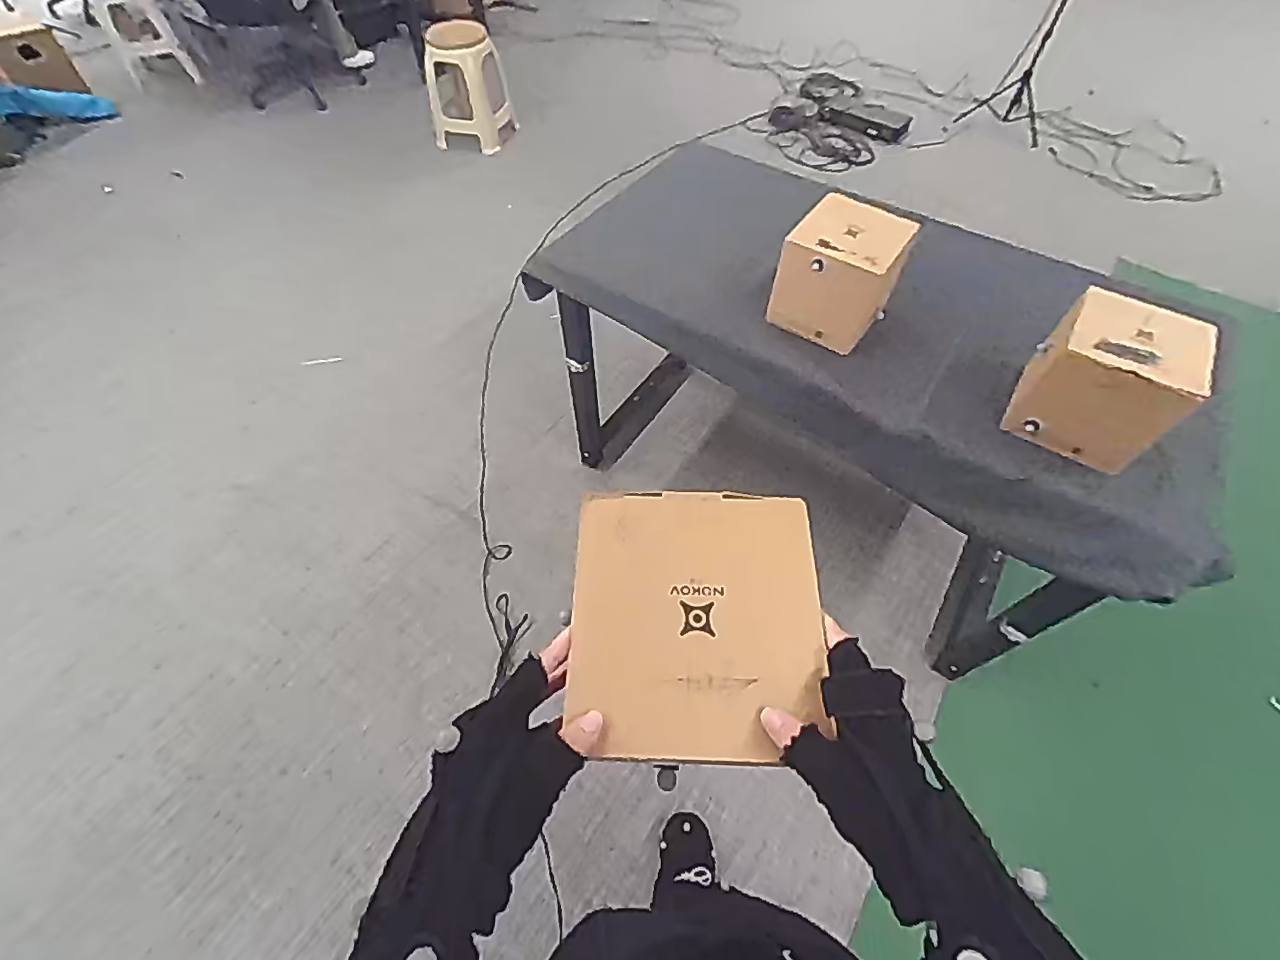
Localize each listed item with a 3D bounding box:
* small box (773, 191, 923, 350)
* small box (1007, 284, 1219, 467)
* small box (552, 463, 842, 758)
[{"bbox_3d":[0.352,-0.363,0.944,0.168,0.176,0.179,31,61,19],"label":"small box"},{"bbox_3d":[0.687,-0.151,0.803,0.168,0.176,0.179,31,60,19],"label":"small box"},{"bbox_3d":[0.036,0.106,0.410,0.168,0.176,0.179,3,62,2],"label":"small box"}]
